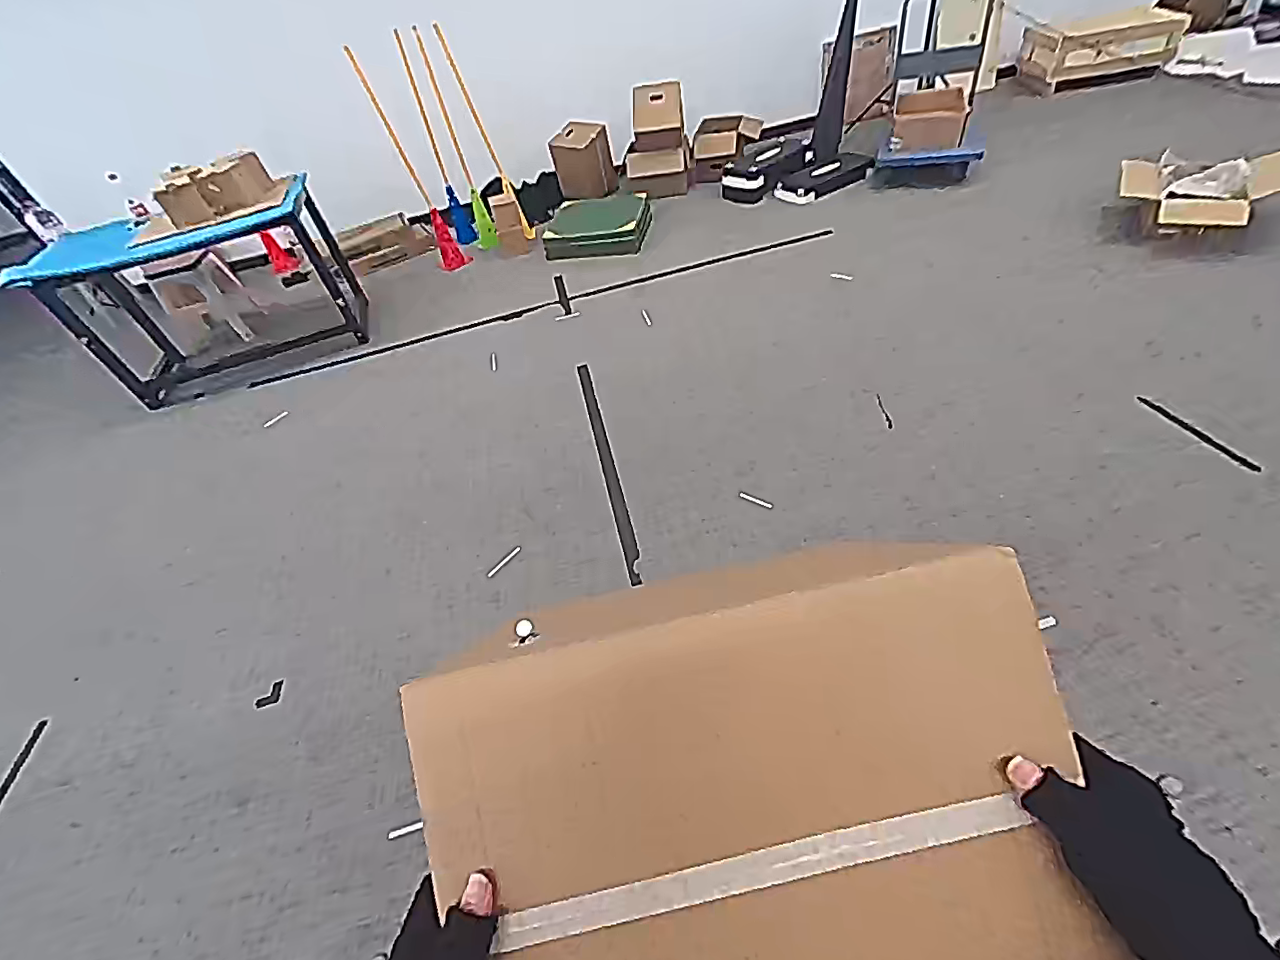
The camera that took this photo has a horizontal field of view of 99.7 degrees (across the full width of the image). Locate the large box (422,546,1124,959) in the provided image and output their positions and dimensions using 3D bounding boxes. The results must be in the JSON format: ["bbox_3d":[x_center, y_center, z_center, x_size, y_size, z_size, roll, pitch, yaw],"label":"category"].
[{"bbox_3d":[0.083,0.255,0.491,0.408,0.320,0.320,-13,85,0],"label":"large box"}]
